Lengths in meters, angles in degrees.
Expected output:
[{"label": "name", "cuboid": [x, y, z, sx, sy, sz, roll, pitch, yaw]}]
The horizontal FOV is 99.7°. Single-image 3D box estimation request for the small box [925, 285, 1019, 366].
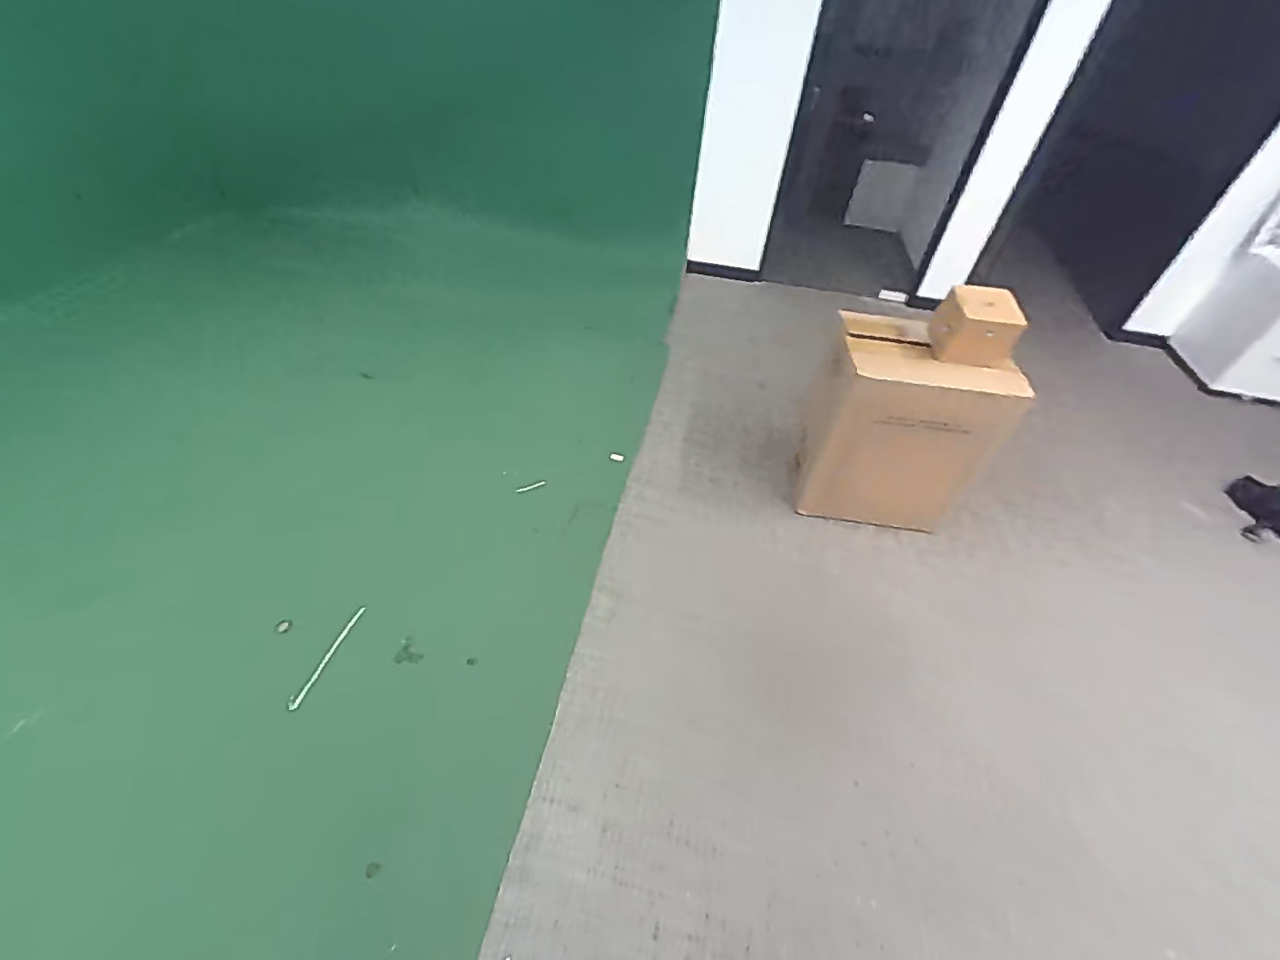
[{"label": "small box", "cuboid": [1.002, -0.470, 1.657, 0.179, 0.176, 0.168, 6, 55, -2]}]
